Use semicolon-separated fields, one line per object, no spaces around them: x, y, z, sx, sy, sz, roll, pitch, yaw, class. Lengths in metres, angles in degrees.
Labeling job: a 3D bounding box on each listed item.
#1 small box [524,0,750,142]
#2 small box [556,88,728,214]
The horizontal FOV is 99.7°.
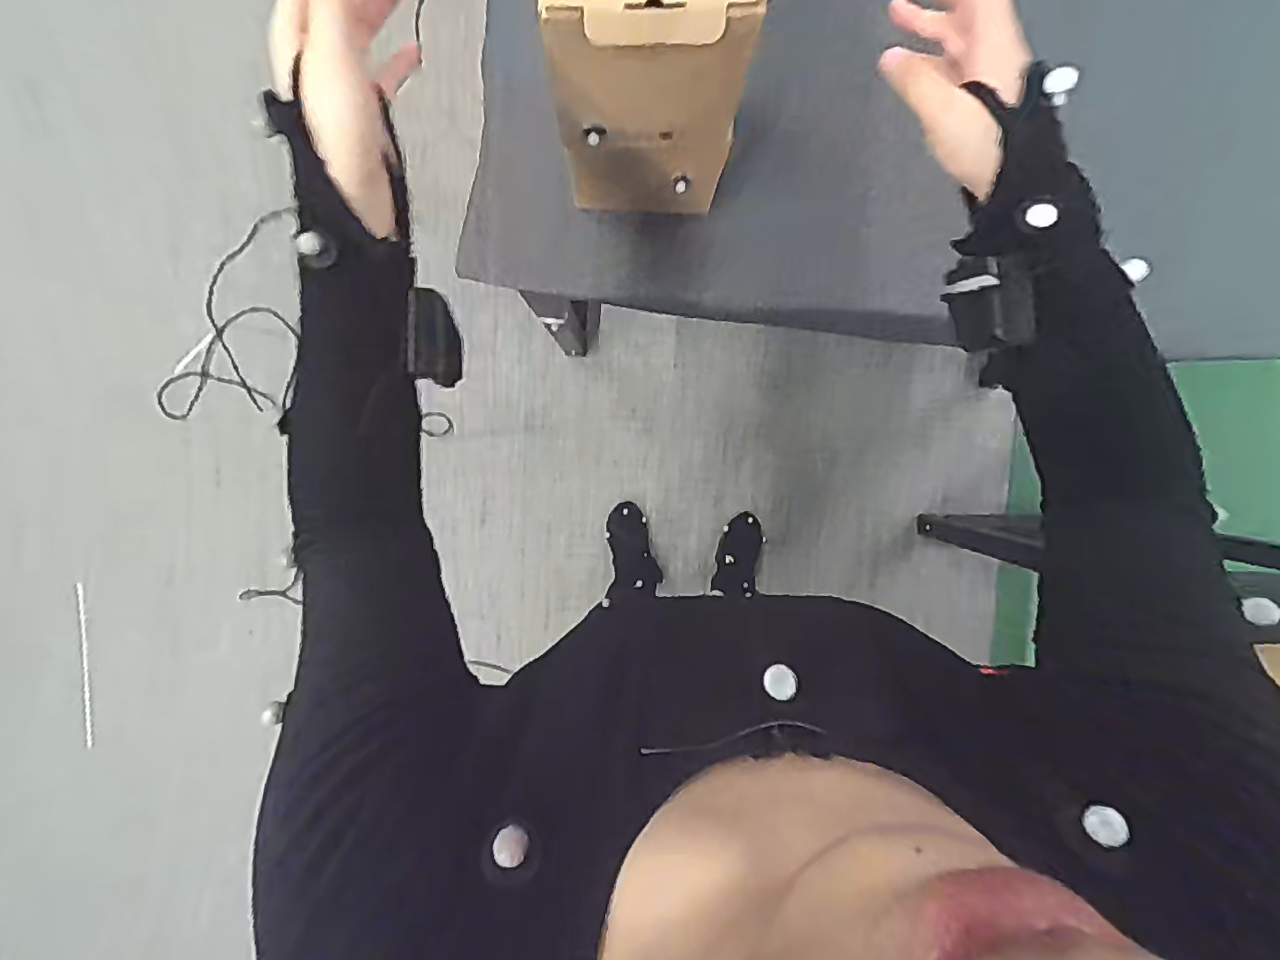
-0.005;-0.419;0.463;0.168;0.176;0.179;-3;91;-1;small box
0.002;-0.429;0.627;0.179;0.176;0.168;2;92;0;small box
